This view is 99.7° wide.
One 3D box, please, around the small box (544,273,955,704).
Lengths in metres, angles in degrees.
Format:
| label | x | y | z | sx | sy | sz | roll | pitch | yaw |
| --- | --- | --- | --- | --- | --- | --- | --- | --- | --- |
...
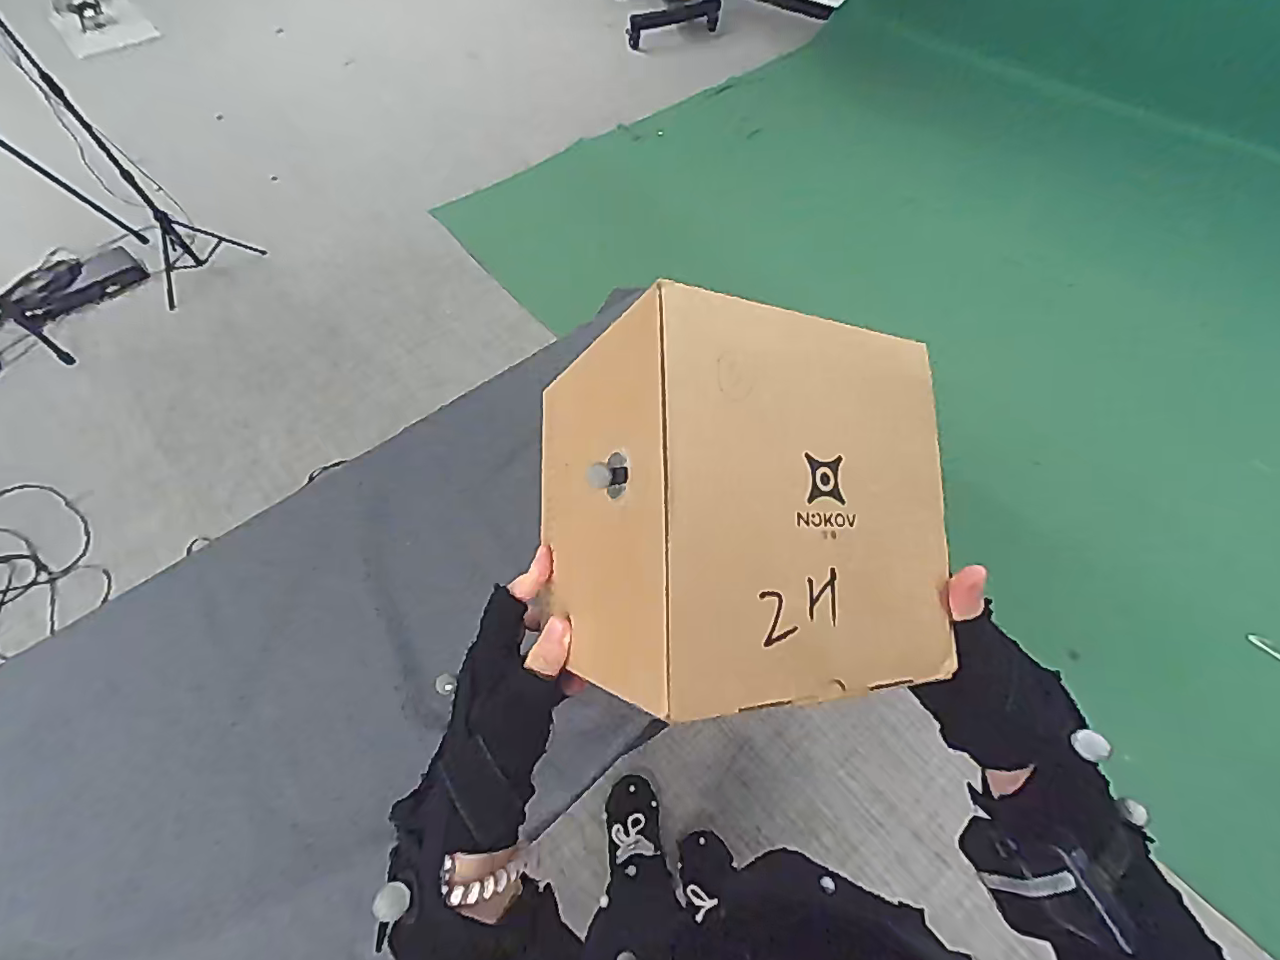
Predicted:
| label | x | y | z | sx | sy | sz | roll | pitch | yaw |
| --- | --- | --- | --- | --- | --- | --- | --- | --- | --- |
| small box | 0.047 | 0.016 | 0.316 | 0.168 | 0.176 | 0.179 | 5 | 80 | -26 |
